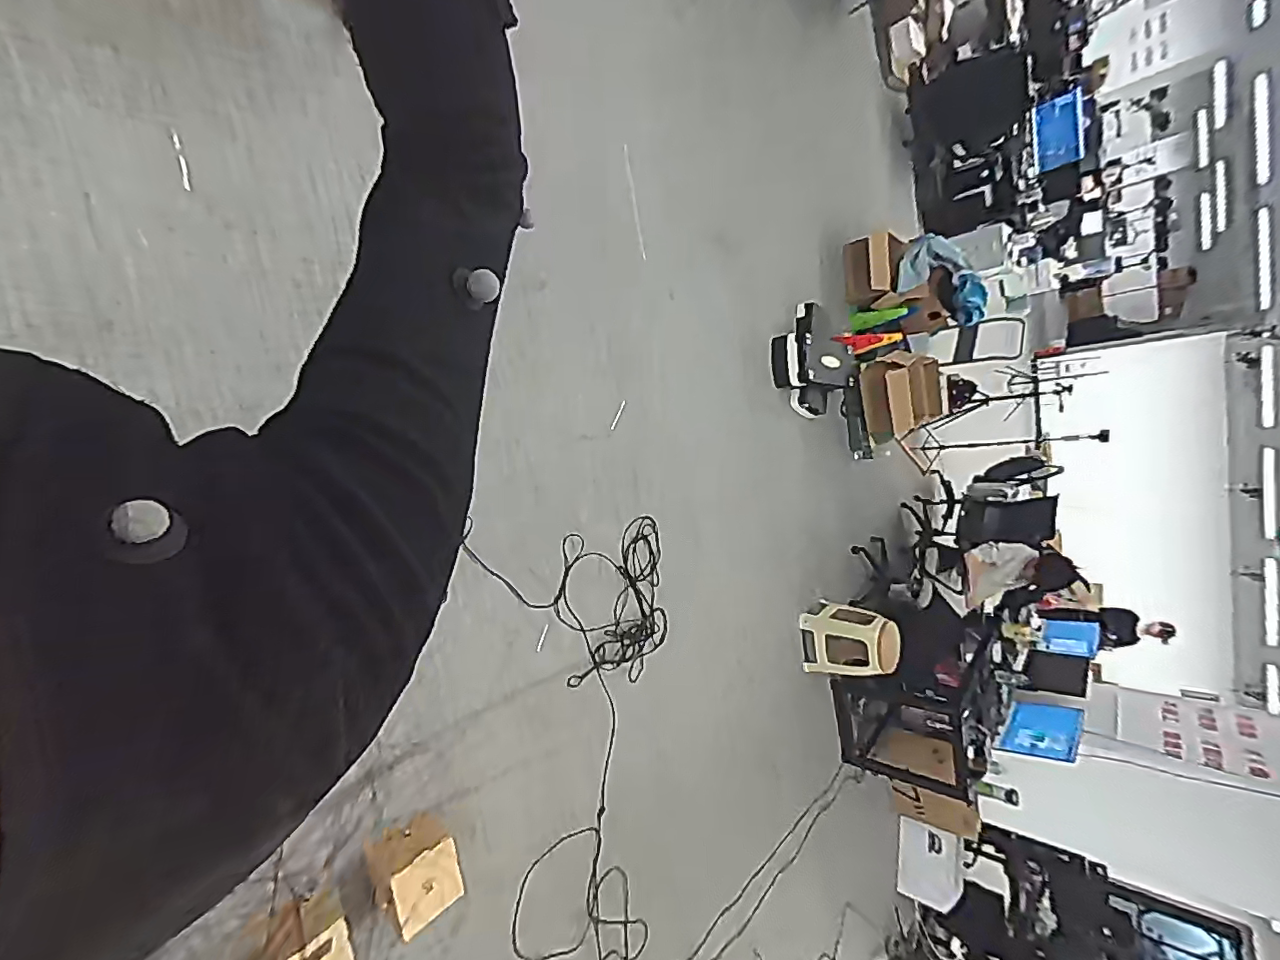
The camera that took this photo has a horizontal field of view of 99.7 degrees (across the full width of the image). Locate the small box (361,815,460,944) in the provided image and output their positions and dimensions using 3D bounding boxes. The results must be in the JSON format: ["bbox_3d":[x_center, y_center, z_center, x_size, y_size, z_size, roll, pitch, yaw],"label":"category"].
[{"bbox_3d":[-0.595,1.021,1.400,0.168,0.176,0.179,-17,100,-46],"label":"small box"}]

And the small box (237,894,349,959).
[{"bbox_3d":[-0.770,1.079,1.208,0.168,0.176,0.179,-17,101,-46],"label":"small box"}]
